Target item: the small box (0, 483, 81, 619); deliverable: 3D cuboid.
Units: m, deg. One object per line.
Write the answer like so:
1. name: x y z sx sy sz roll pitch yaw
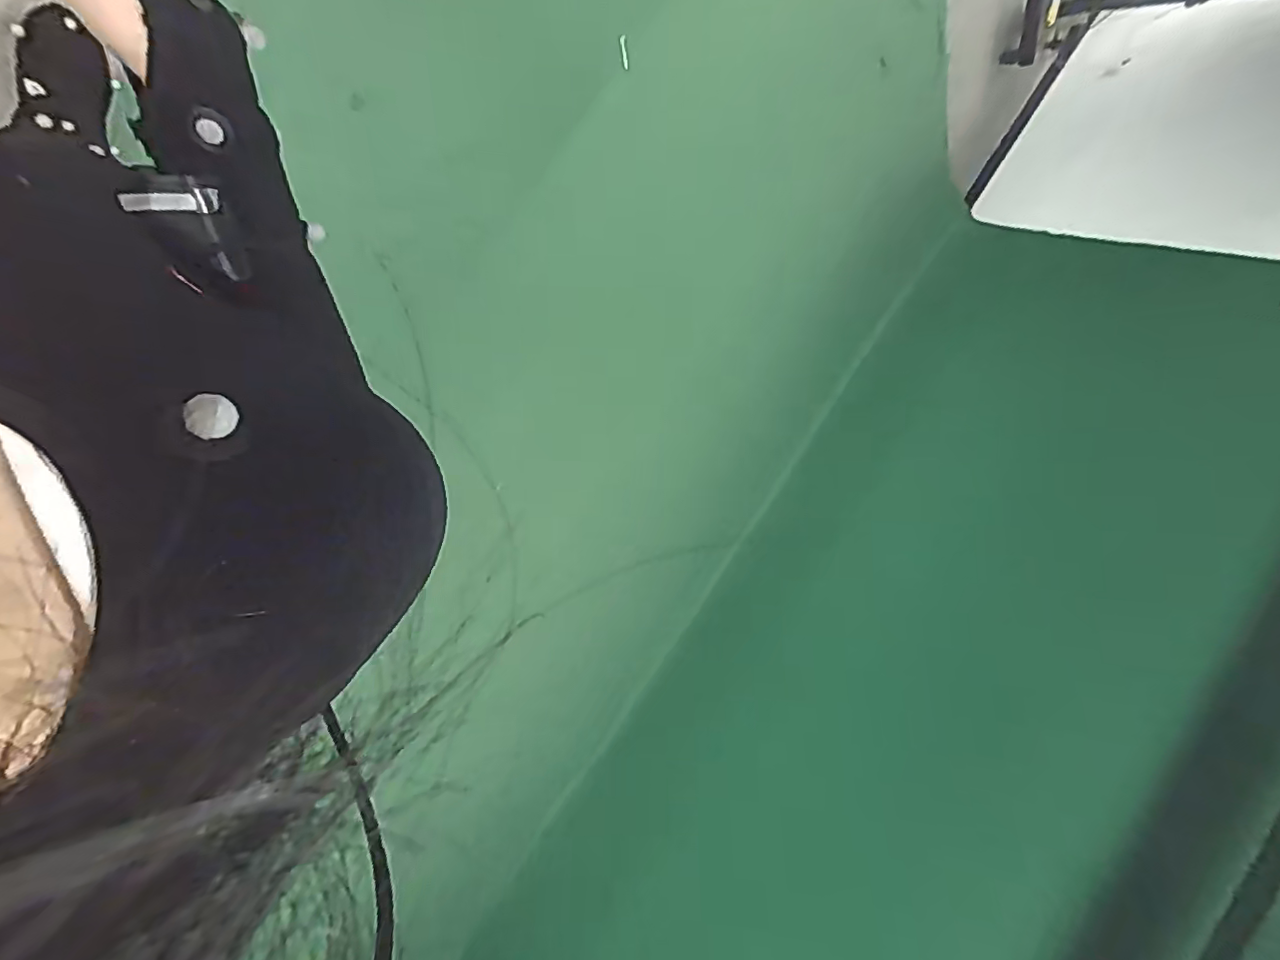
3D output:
1. small box: -1.226 0.133 1.018 0.179 0.176 0.168 -43 140 -19
